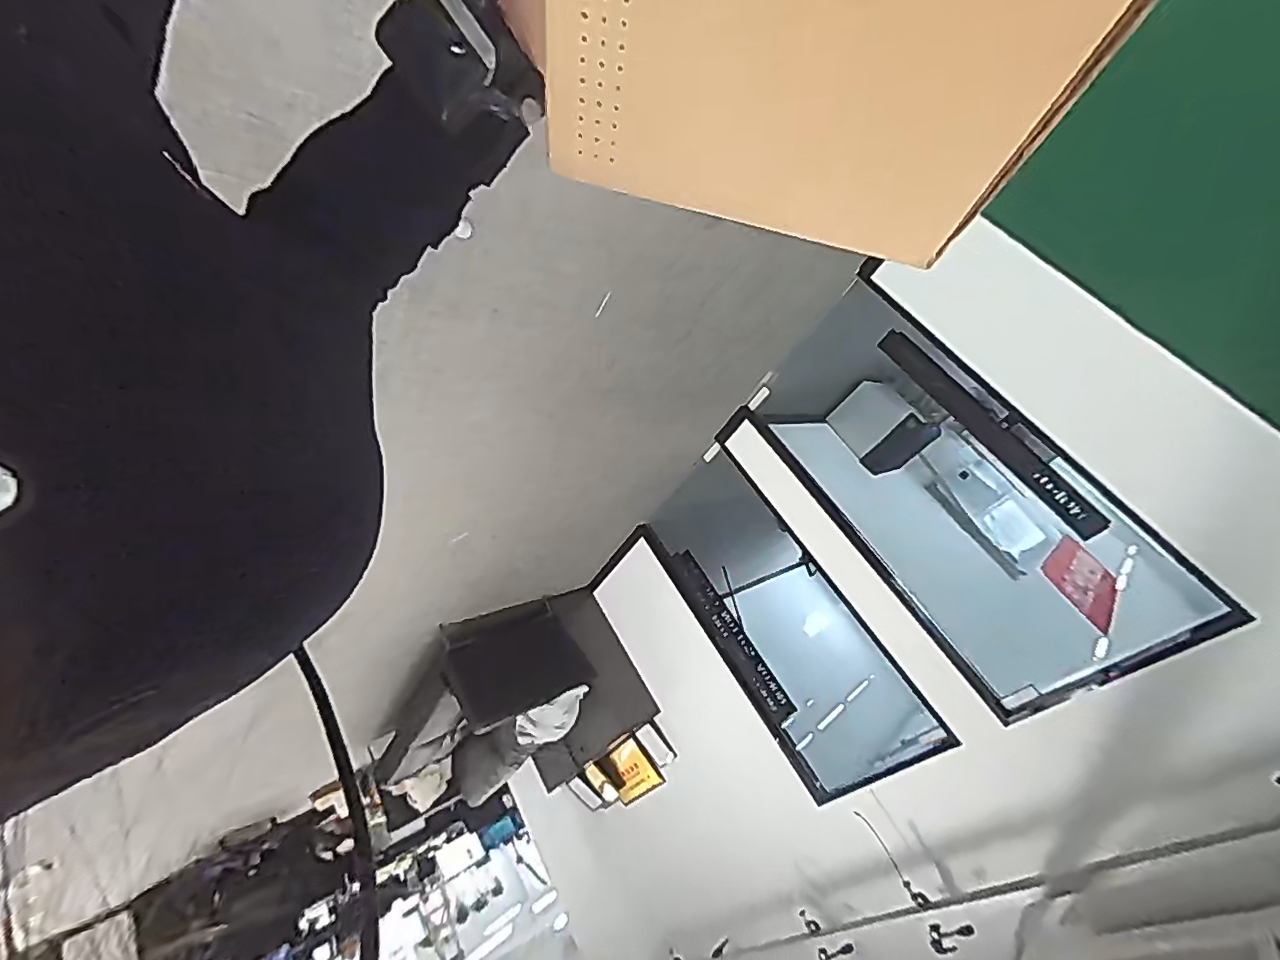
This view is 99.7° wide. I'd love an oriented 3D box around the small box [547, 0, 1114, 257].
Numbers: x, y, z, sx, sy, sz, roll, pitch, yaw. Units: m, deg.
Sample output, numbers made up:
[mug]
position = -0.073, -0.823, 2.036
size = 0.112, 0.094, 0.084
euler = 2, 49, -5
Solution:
[small box]
position = 0.064, -0.218, 0.195
size = 0.176, 0.168, 0.179
euler = 13, 155, -1
